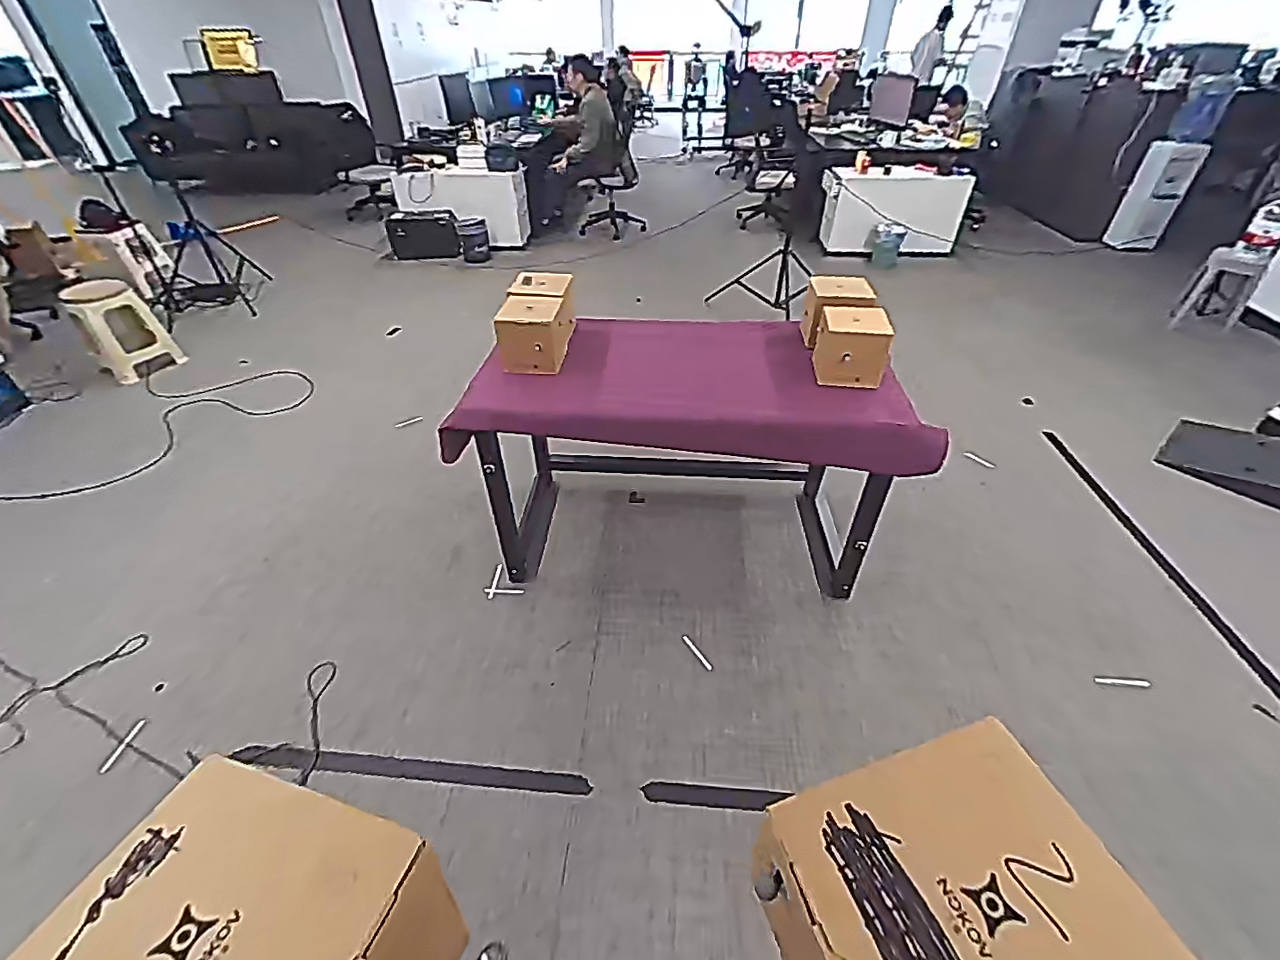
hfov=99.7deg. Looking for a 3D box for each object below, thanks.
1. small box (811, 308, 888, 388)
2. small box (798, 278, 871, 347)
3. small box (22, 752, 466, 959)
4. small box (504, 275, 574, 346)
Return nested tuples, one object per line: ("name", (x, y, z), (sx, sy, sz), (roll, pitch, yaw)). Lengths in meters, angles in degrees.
("small box", (0.588, -0.376, 1.537), (0.168, 0.176, 0.179), (5, 39, 8))
("small box", (0.603, -0.524, 1.704), (0.179, 0.176, 0.168), (3, 41, 4))
("small box", (-0.229, 0.312, 0.333), (0.179, 0.176, 0.168), (12, 35, 13))
("small box", (-0.318, -0.545, 1.743), (0.179, 0.176, 0.168), (4, 42, 4))
